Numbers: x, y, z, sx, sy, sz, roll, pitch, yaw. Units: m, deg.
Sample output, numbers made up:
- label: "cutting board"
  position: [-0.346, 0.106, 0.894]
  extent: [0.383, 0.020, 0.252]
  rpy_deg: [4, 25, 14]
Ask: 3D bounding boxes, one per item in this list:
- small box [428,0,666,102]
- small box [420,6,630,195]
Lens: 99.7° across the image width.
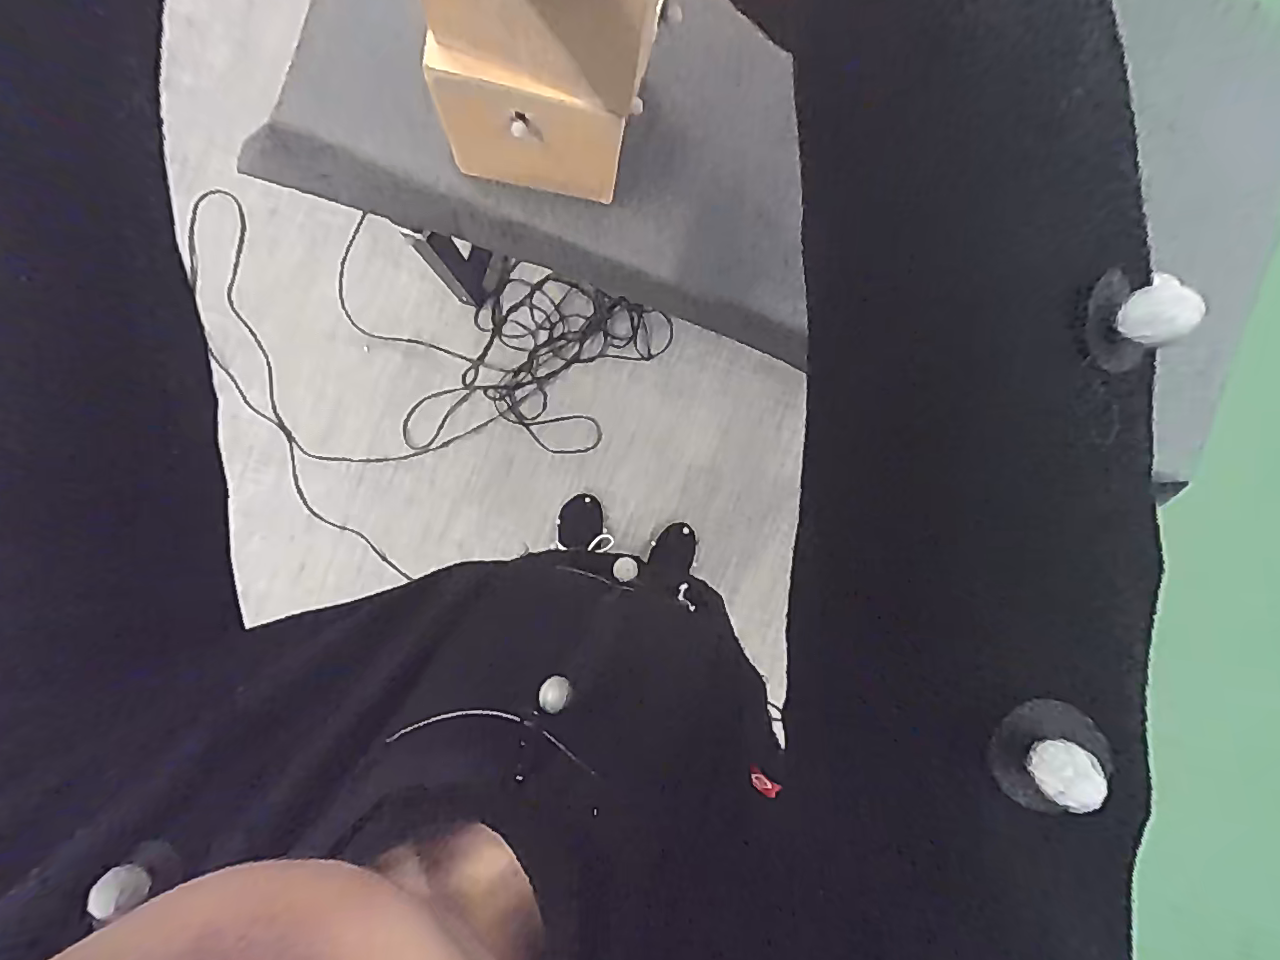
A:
- label: "small box"
  position: [-0.058, -0.415, 0.378]
  extent: [0.179, 0.176, 0.168]
  rpy_deg: [17, 91, -8]
- label: "small box"
  position: [-0.095, -0.414, 0.538]
  extent: [0.179, 0.176, 0.168]
  rpy_deg: [9, 91, -7]
